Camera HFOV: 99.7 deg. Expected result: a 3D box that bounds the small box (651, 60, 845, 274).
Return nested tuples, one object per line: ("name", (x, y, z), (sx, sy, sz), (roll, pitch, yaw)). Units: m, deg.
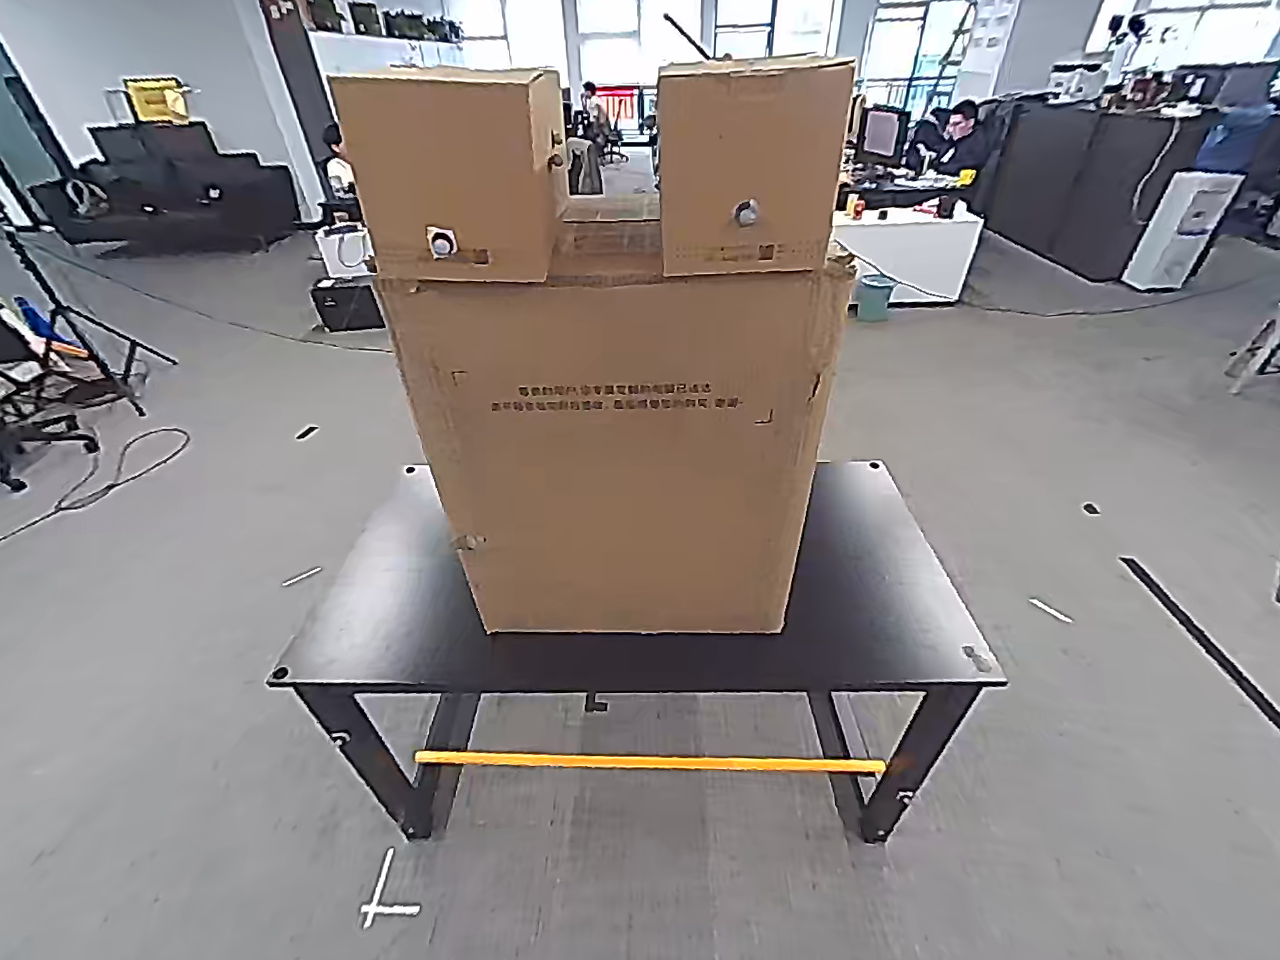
("small box", (0.097, -0.328, 0.568), (0.168, 0.176, 0.179), (-2, 40, 4))
